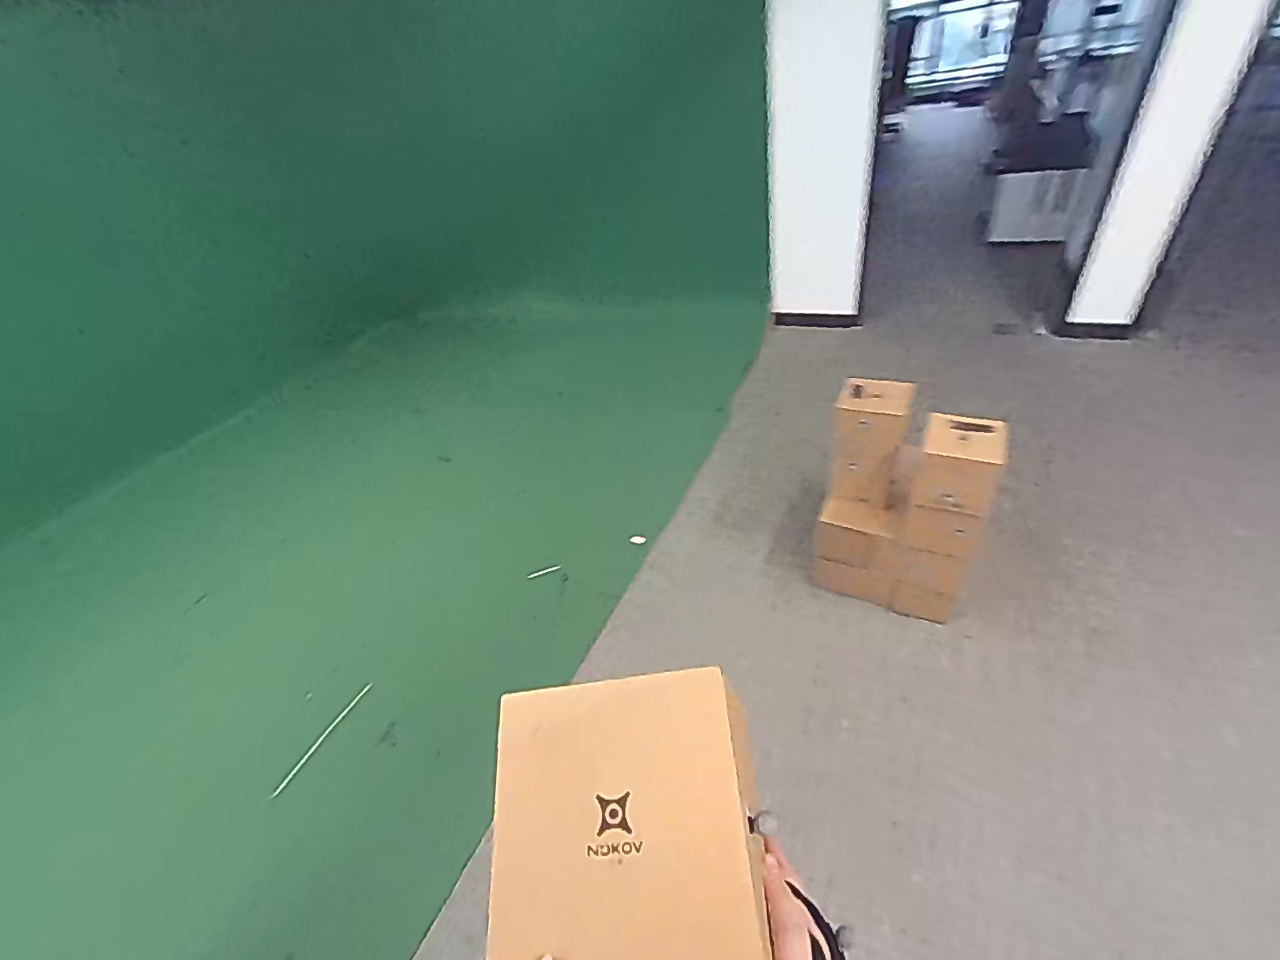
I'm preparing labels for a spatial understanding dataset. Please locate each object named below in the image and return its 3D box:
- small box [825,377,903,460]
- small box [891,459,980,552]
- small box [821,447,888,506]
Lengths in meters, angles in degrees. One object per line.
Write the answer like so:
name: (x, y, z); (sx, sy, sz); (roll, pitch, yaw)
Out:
small box: (0.632, -0.175, 1.533); (0.179, 0.176, 0.168); (11, 44, 27)
small box: (0.795, 0.071, 1.459); (0.179, 0.176, 0.168); (11, 44, 25)
small box: (0.655, -0.050, 1.641); (0.168, 0.176, 0.179); (12, 43, 27)
